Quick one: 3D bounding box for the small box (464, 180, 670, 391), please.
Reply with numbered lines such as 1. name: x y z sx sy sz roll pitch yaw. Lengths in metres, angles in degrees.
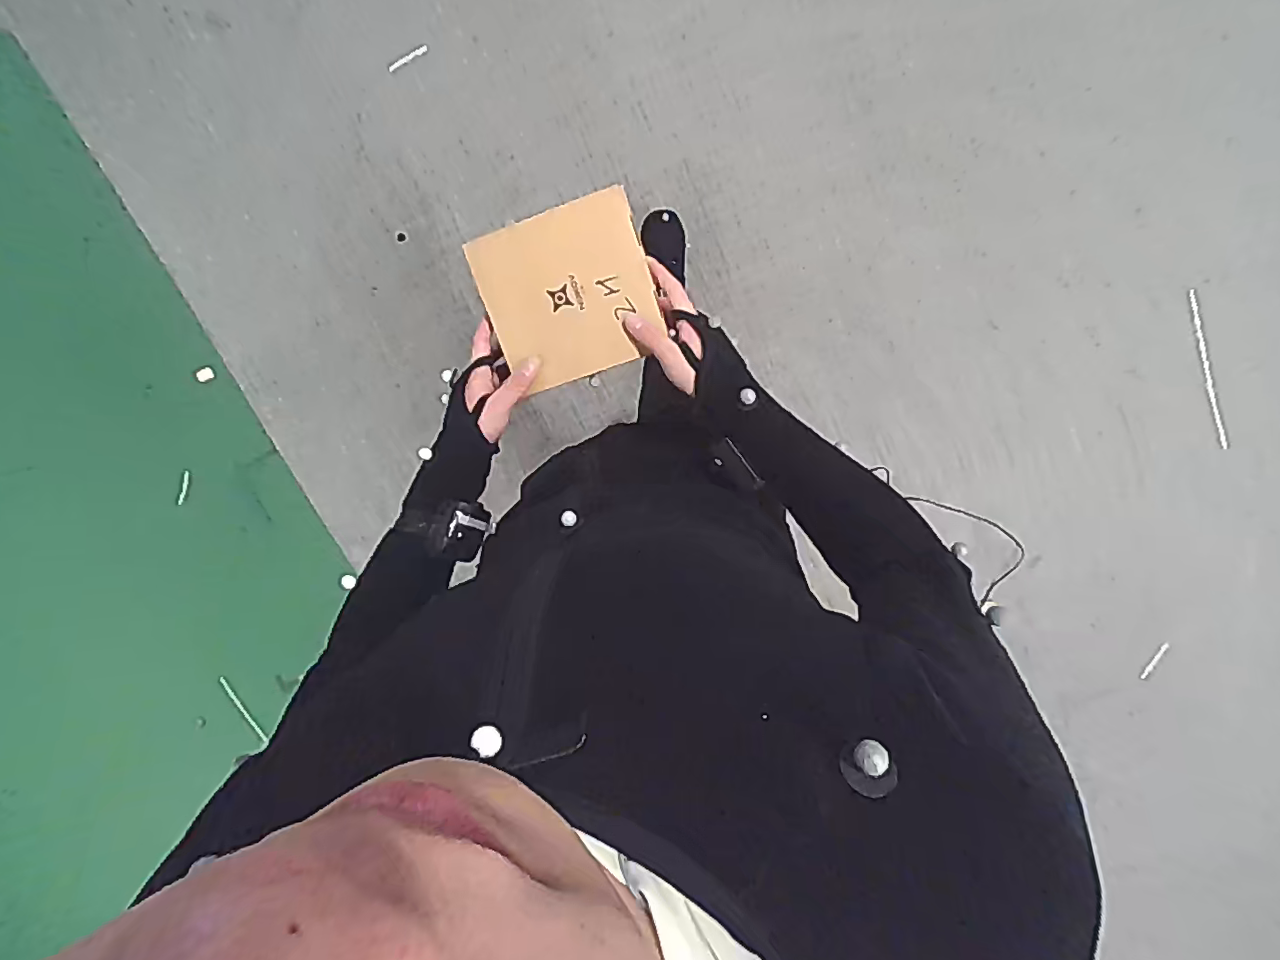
1. small box: -0.069 -0.212 0.628 0.179 0.176 0.168 -17 104 7
